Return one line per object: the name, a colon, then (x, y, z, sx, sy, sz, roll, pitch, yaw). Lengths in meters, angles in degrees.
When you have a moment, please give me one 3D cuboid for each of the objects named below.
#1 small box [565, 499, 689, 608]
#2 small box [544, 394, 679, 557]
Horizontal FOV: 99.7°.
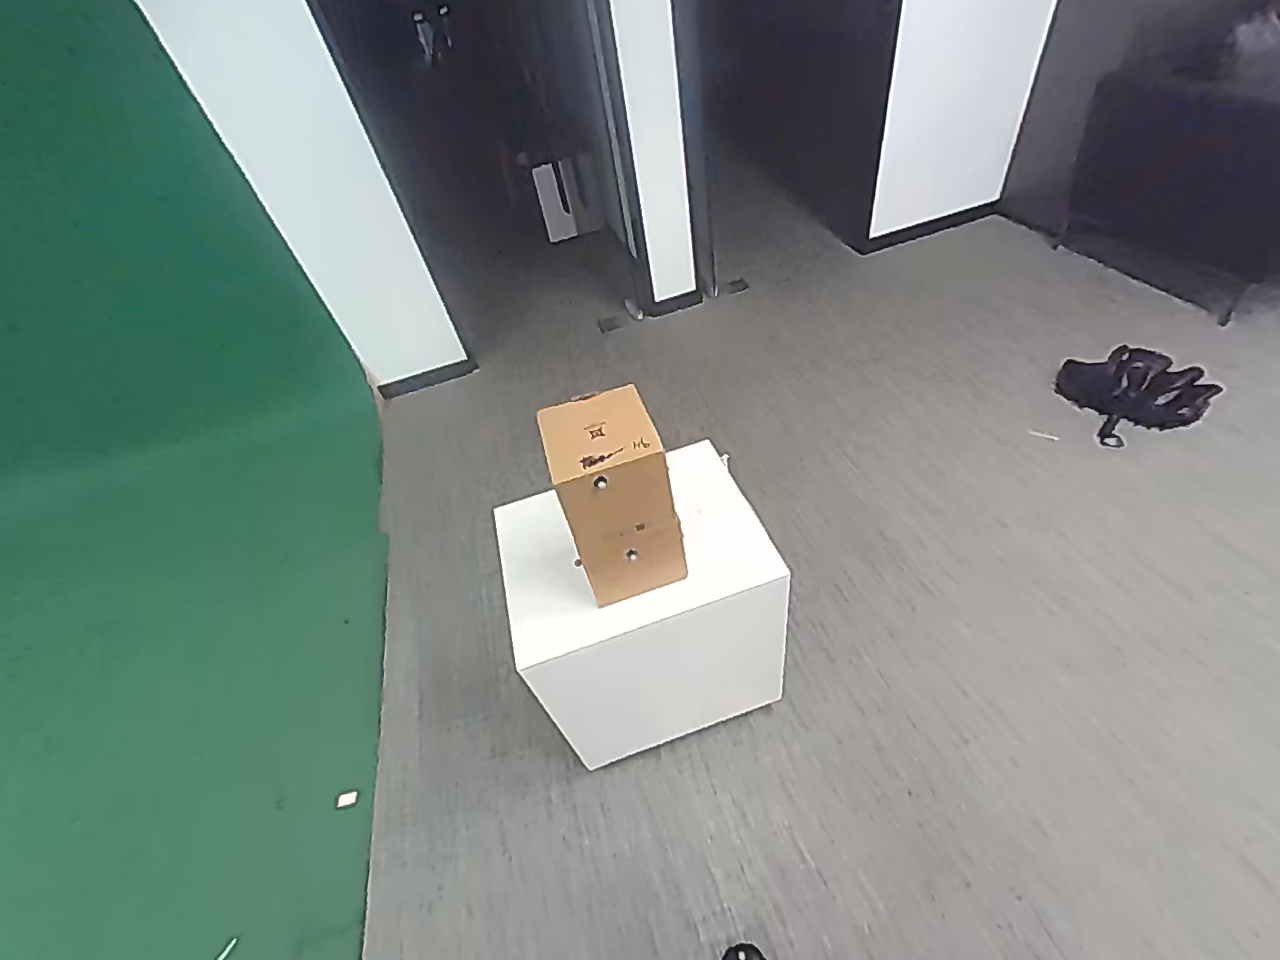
small box: (-0.021, 0.108, 0.991, 0.179, 0.176, 0.168, -18, 45, -6)
small box: (-0.045, -0.007, 0.880, 0.168, 0.176, 0.179, -19, 46, -7)
